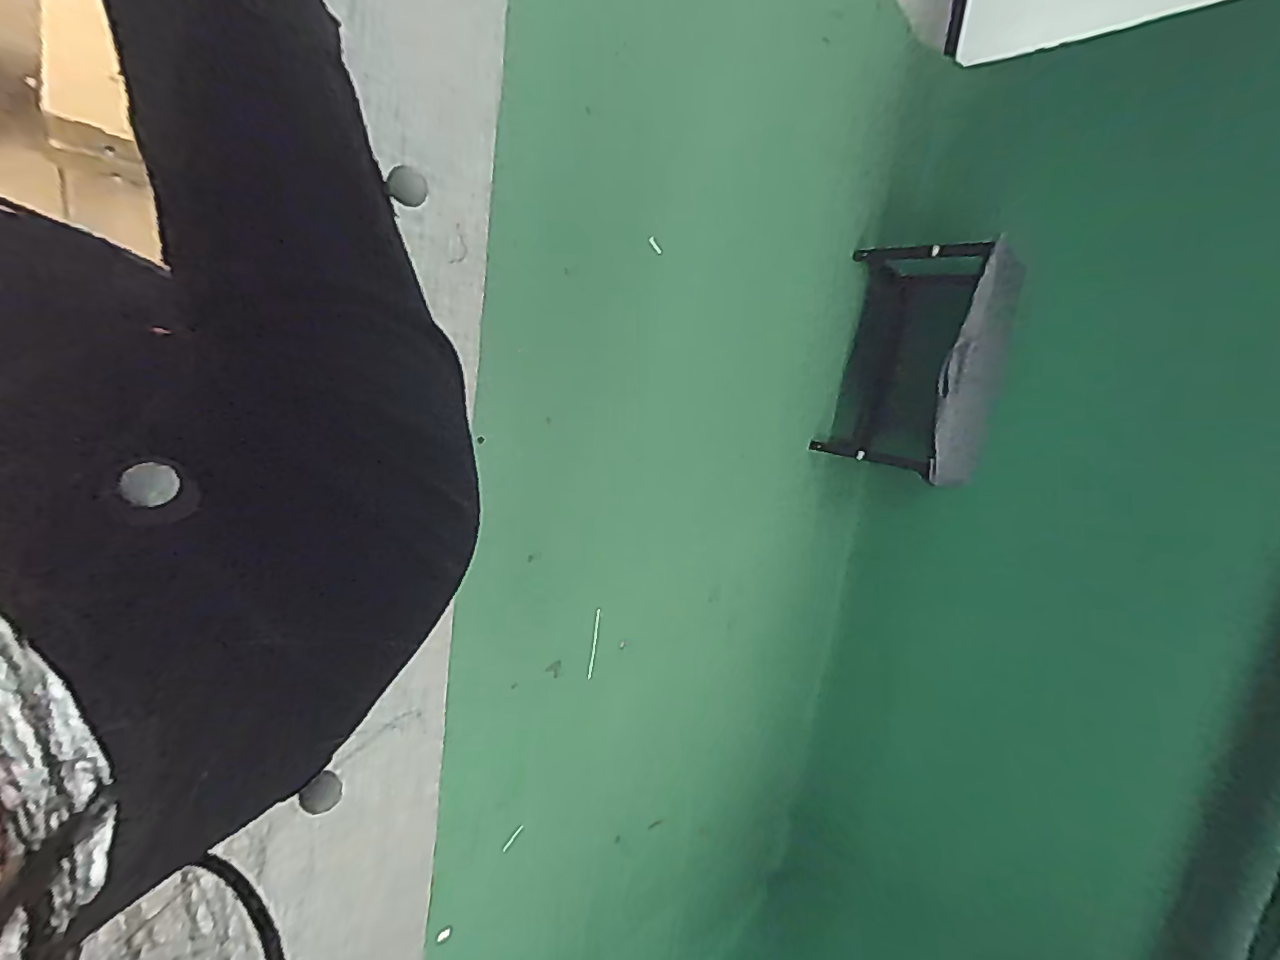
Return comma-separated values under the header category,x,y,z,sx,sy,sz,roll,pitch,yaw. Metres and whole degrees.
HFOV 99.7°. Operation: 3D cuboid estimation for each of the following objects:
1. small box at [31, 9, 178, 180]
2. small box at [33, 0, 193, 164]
category,x,y,z,sx,sy,sz,roll,pitch,yaw
small box,-0.918,-0.645,0.932,0.168,0.176,0.179,-5,107,-44
small box,-0.801,-0.615,0.823,0.168,0.176,0.179,-2,105,-46
